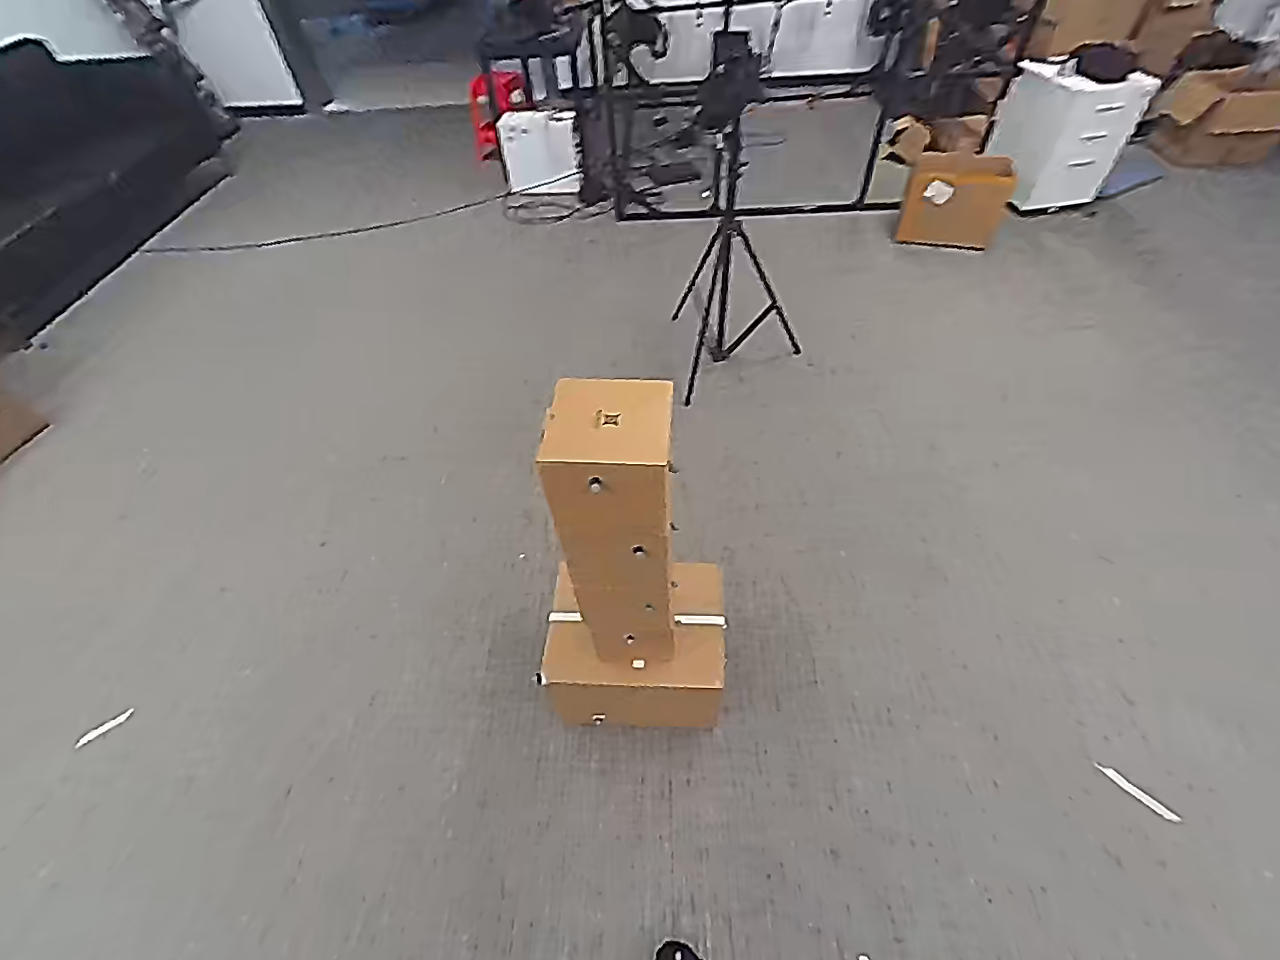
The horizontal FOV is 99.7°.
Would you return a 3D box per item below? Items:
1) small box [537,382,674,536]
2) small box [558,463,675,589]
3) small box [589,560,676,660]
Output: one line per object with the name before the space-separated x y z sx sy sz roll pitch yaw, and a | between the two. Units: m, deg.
small box | -0.039 -0.027 0.815 0.179 0.176 0.168 2 51 6
small box | -0.030 0.077 0.939 0.179 0.176 0.168 1 50 5
small box | -0.010 0.288 1.189 0.179 0.176 0.168 -1 51 2
